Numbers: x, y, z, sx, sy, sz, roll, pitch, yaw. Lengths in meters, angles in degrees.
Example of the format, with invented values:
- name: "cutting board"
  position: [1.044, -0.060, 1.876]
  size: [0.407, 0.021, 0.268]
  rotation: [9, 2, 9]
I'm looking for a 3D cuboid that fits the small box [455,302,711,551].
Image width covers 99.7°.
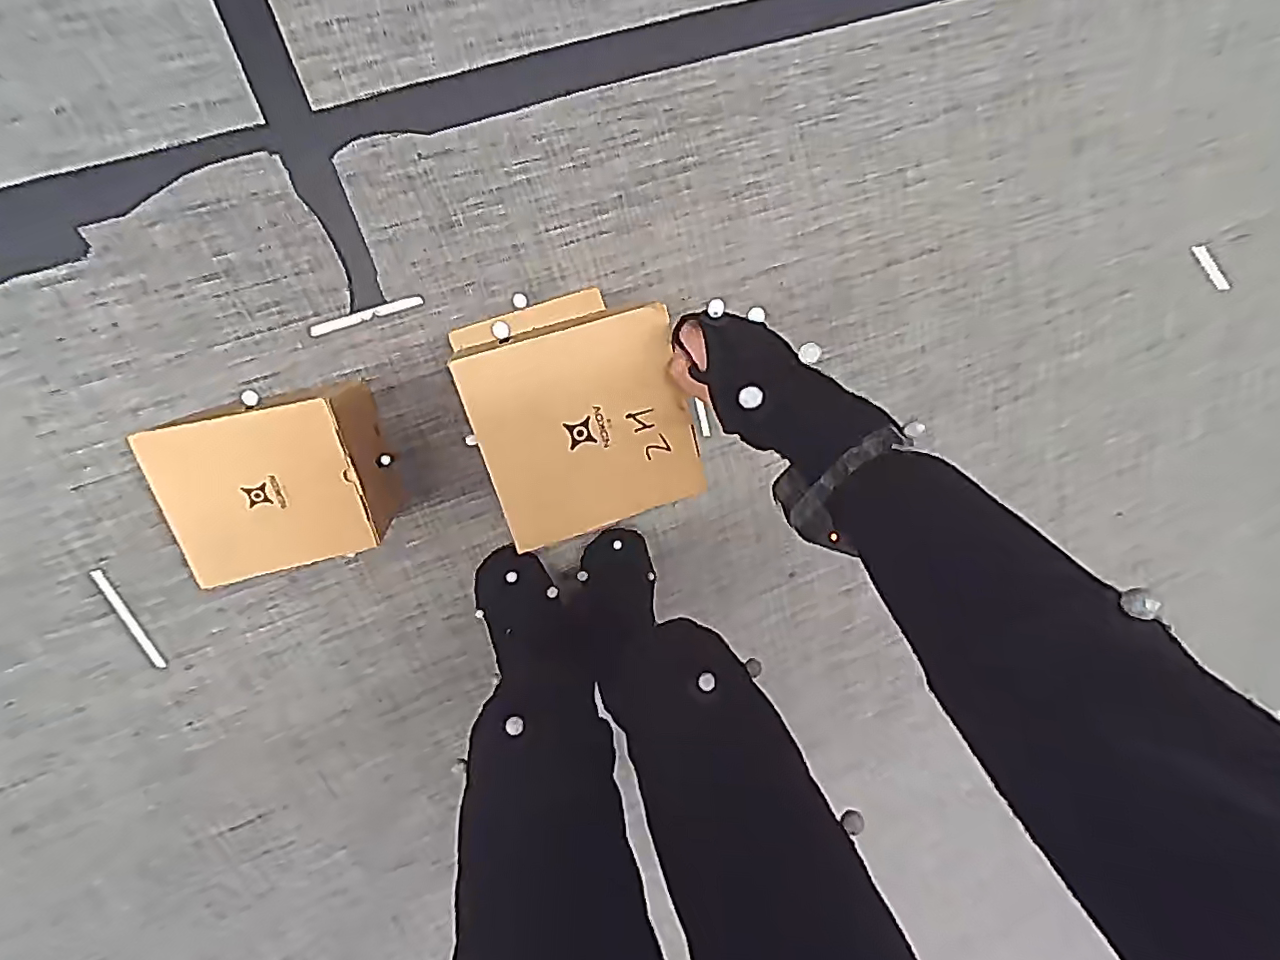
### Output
- name: "small box"
  position: [-0.057, -0.061, 0.507]
  size: [0.179, 0.176, 0.168]
  rotation: [-19, 111, -11]

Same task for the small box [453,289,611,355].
- name: "small box"
  position: [-0.110, -0.119, 0.653]
  size: [0.168, 0.176, 0.179]
  rotation: [-21, 110, -10]

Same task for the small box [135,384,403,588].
- name: "small box"
  position: [-0.389, -0.006, 0.608]
  size: [0.179, 0.176, 0.168]
  rotation: [-14, 109, -12]
